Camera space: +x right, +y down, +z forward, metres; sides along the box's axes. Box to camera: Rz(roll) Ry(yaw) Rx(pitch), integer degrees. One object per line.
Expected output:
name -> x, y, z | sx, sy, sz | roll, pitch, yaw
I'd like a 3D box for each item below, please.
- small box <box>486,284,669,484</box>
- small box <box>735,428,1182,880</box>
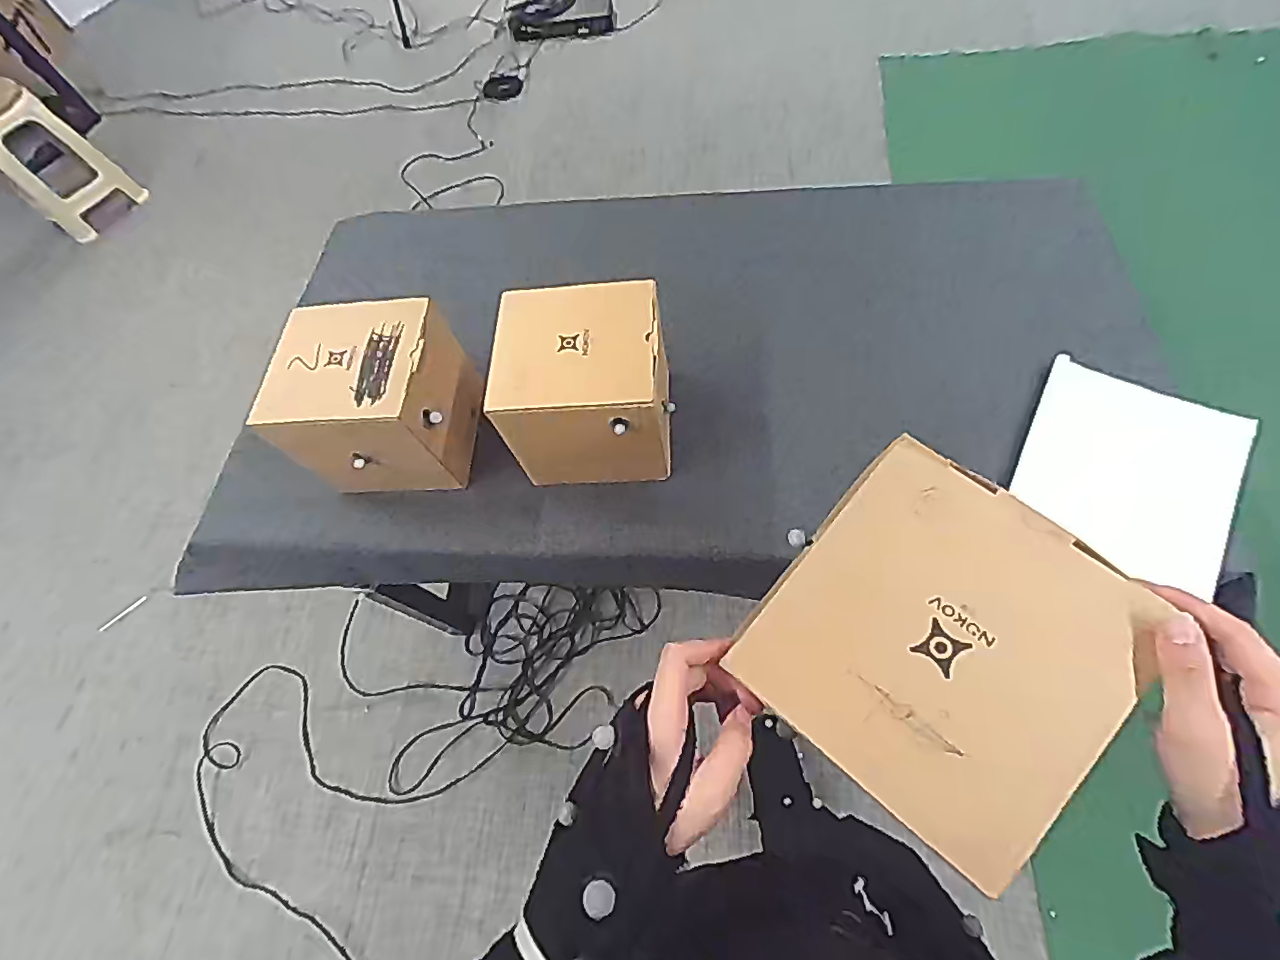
small box -> -0.059, -0.104, 0.641 | 0.179, 0.176, 0.168 | -3, 63, 6
small box -> 0.177, 0.101, 0.366 | 0.168, 0.176, 0.179 | 37, 83, 18
